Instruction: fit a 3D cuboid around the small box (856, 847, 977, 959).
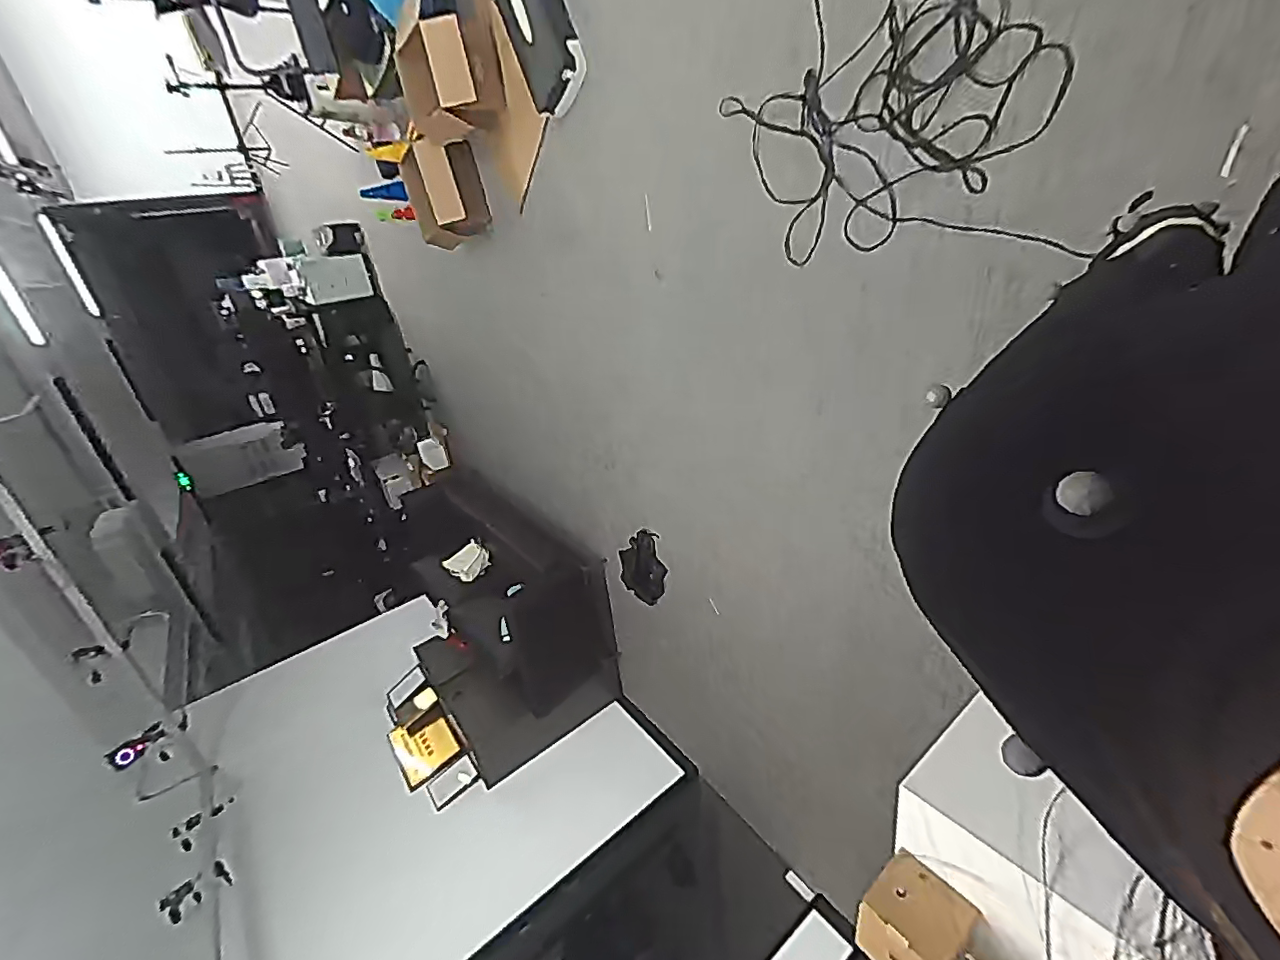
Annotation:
[{"bbox_3d":[0.588,0.940,1.151,0.168,0.176,0.179,26,132,48],"label":"small box"}]
